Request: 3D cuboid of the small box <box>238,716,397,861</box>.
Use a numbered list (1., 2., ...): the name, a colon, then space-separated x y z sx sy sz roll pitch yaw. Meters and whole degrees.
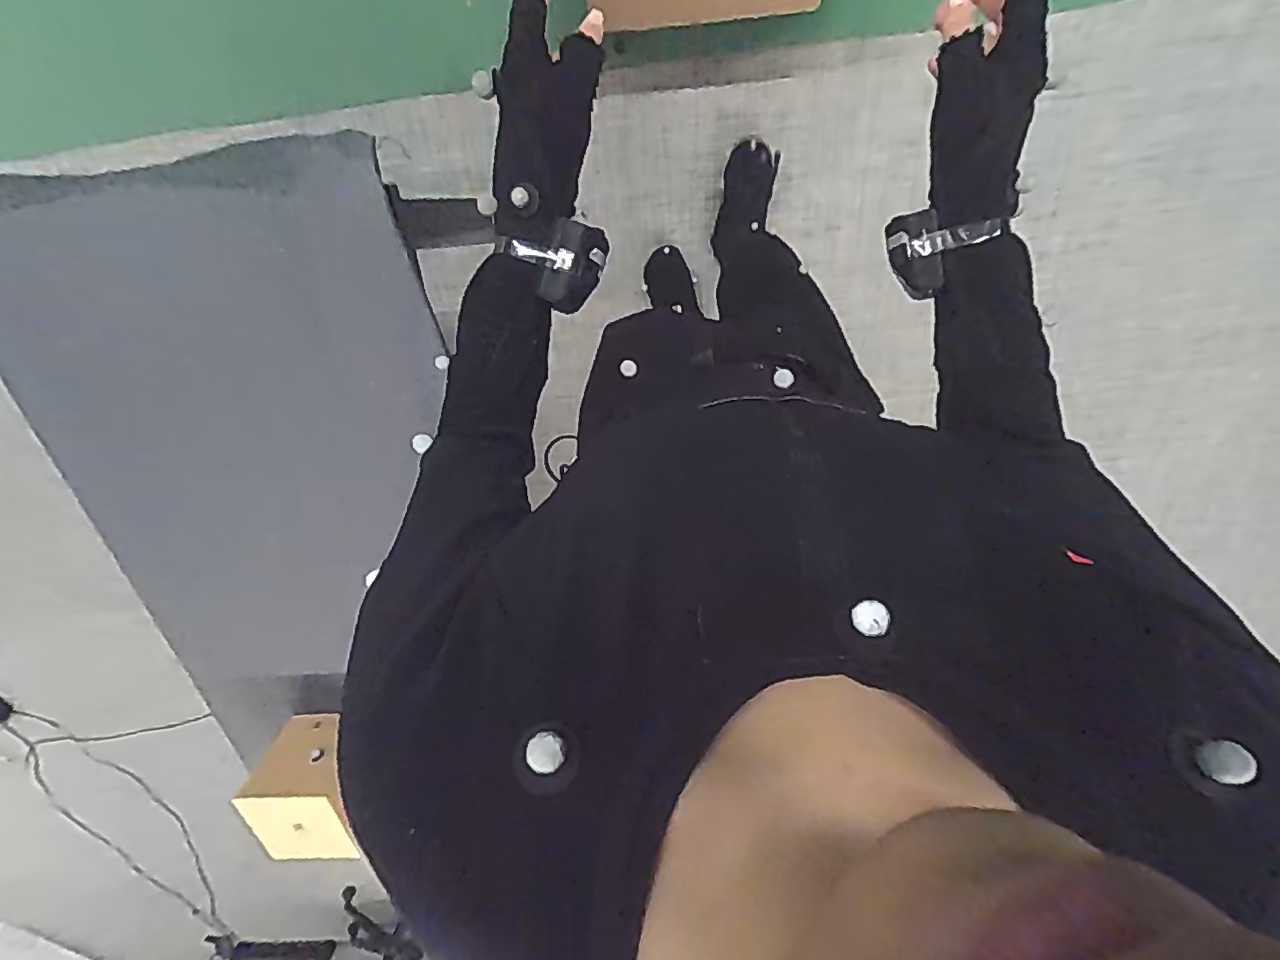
1. small box: -0.558 0.548 0.974 0.168 0.176 0.179 -4 117 6
